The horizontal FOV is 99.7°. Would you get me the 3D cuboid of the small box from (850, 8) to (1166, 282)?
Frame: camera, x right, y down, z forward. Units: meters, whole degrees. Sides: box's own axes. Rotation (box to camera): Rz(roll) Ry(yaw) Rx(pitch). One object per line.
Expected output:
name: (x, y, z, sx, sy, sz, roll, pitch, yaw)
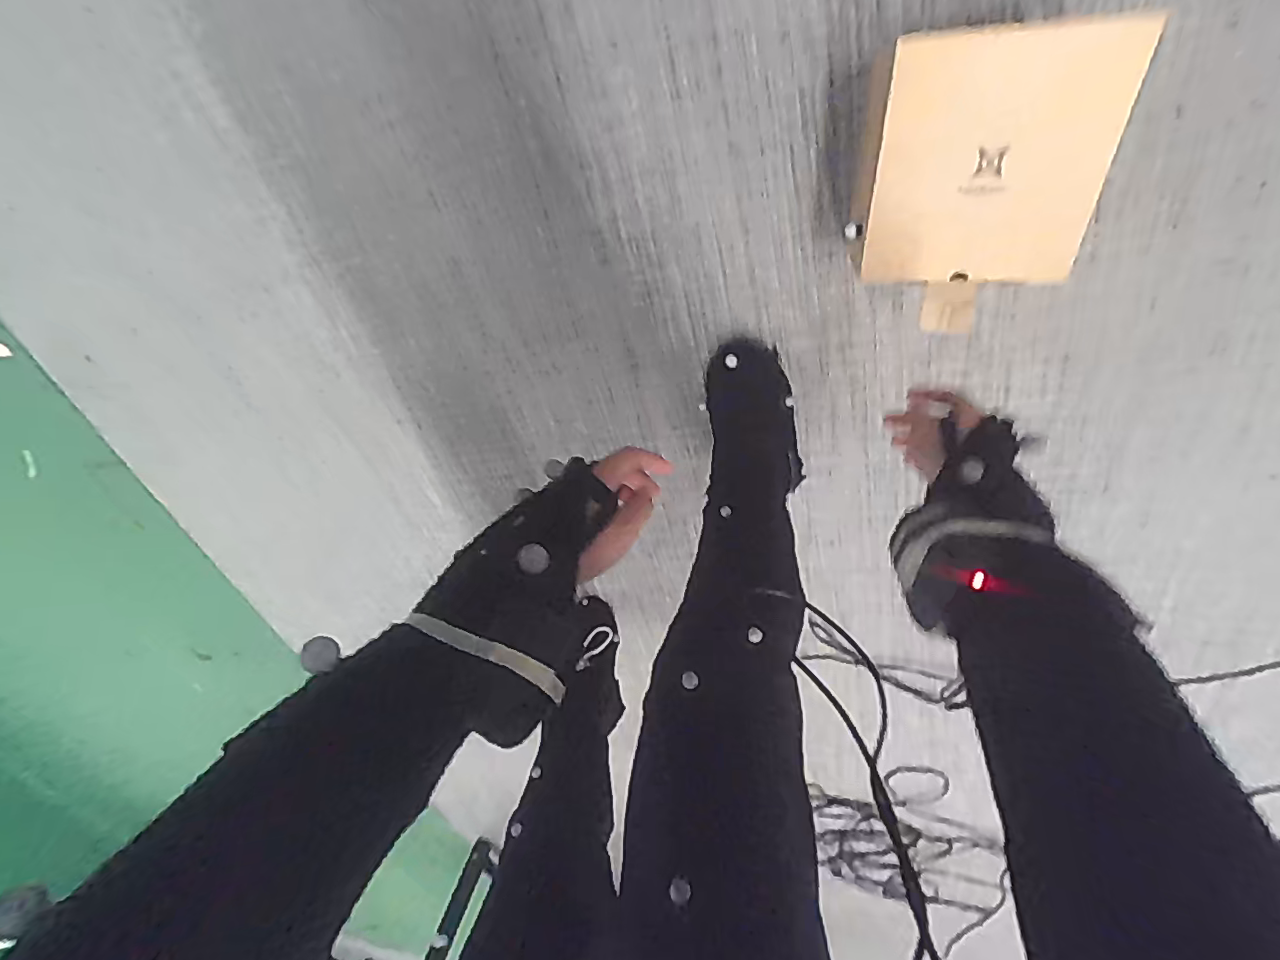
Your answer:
small box: (0.288, -0.287, 0.480, 0.168, 0.176, 0.179, 5, 126, 13)
